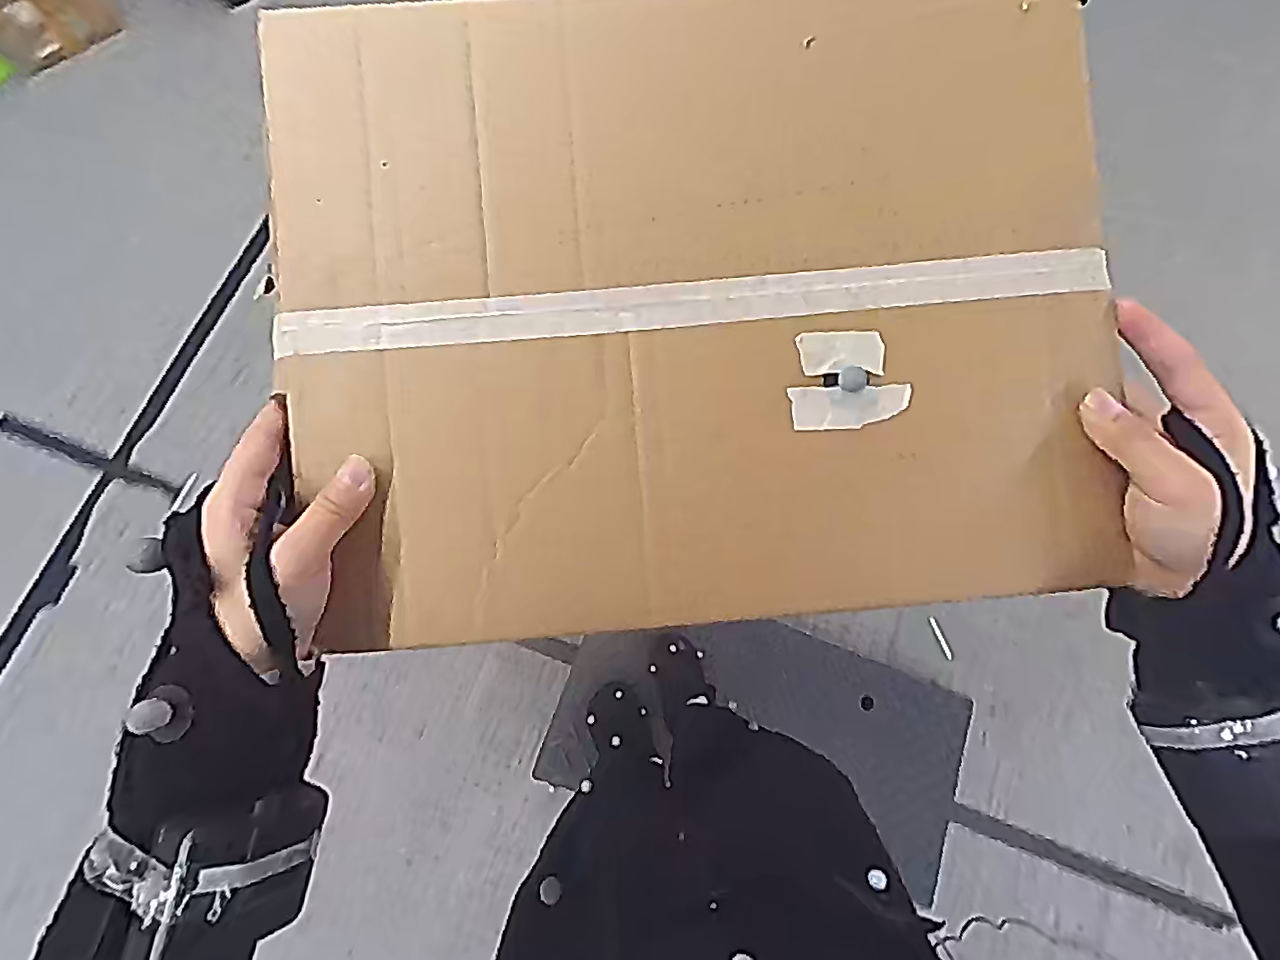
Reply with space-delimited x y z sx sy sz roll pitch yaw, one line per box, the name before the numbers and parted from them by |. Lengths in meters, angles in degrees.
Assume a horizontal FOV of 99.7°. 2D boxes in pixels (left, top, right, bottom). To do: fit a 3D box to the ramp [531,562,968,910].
ramp | 0.304 0.591 1.249 0.991 0.206 0.509 19 74 1
